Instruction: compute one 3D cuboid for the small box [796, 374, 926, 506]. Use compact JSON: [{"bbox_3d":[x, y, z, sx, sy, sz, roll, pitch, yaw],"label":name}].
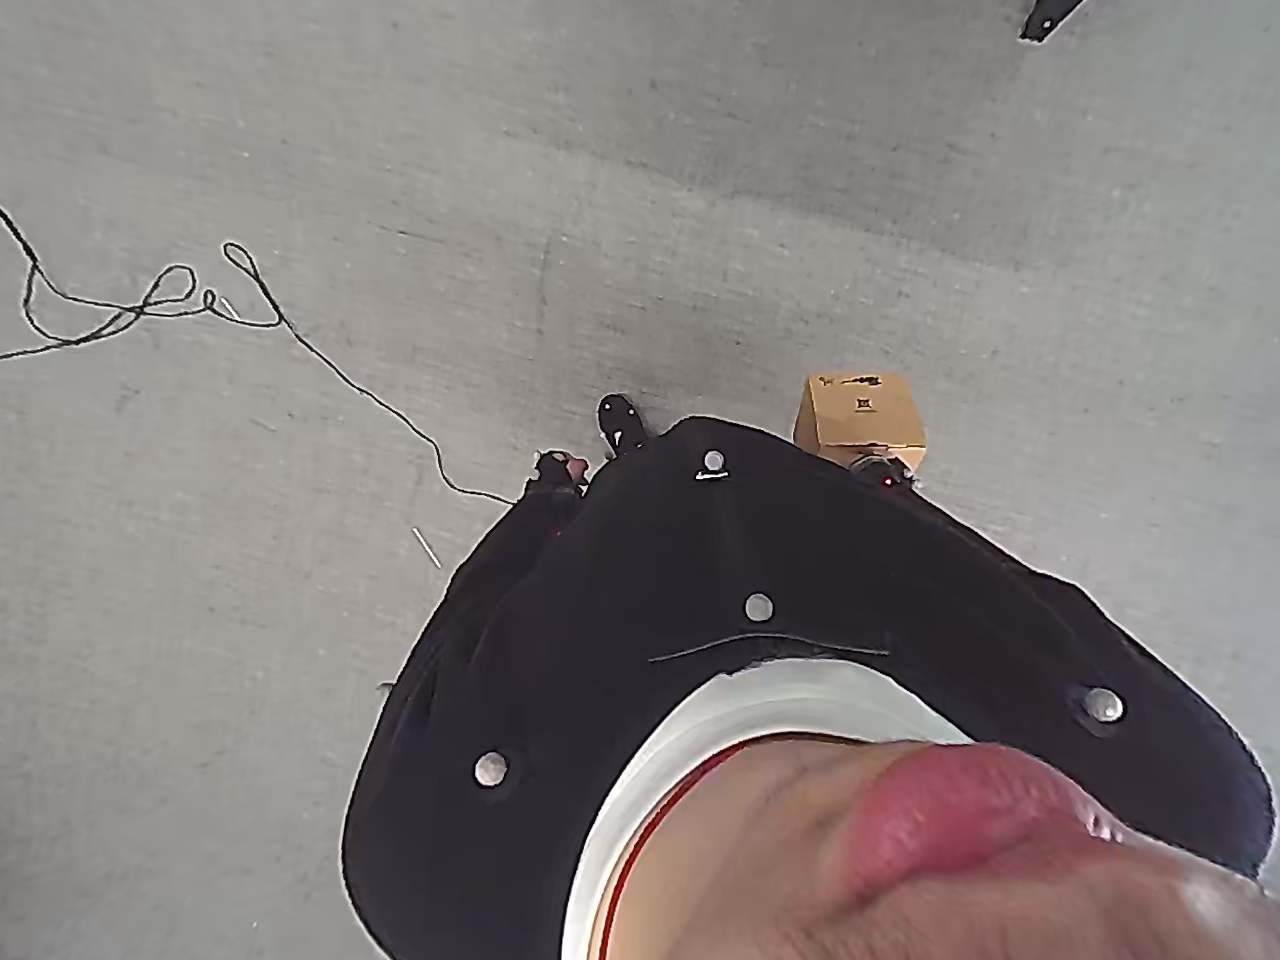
[{"bbox_3d":[0.377,-0.064,0.958,0.168,0.179,0.176,-2,141,6],"label":"small box"}]
